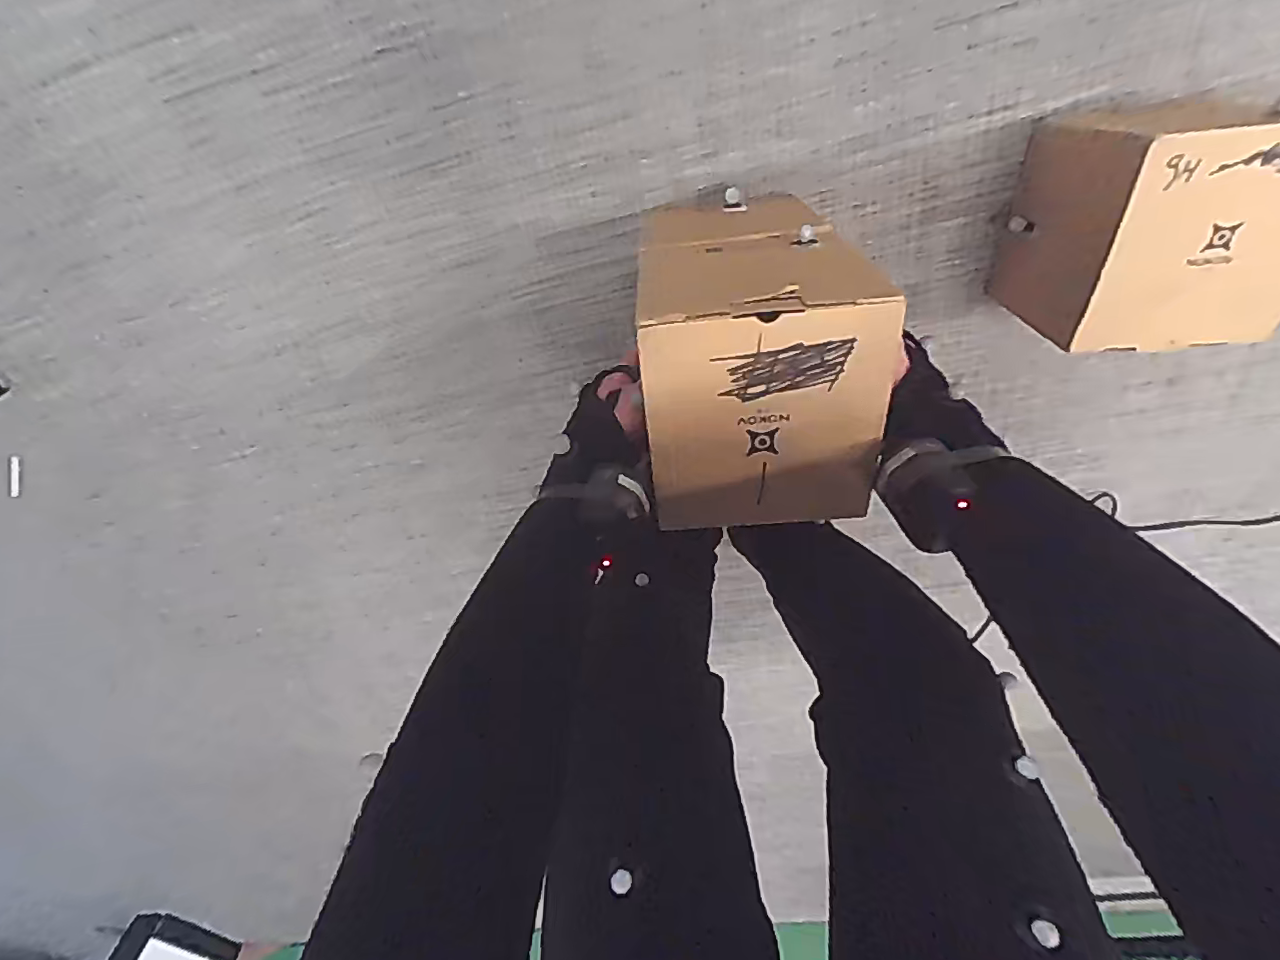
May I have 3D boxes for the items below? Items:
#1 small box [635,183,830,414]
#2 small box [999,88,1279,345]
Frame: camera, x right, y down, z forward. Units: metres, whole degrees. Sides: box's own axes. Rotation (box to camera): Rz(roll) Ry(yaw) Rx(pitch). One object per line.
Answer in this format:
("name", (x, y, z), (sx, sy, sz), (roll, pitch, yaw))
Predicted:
("small box", (0.090, -0.191, 0.566), (0.168, 0.176, 0.179), (-5, 126, 6))
("small box", (0.470, -0.243, 0.499), (0.168, 0.176, 0.179), (-2, 128, 6))
